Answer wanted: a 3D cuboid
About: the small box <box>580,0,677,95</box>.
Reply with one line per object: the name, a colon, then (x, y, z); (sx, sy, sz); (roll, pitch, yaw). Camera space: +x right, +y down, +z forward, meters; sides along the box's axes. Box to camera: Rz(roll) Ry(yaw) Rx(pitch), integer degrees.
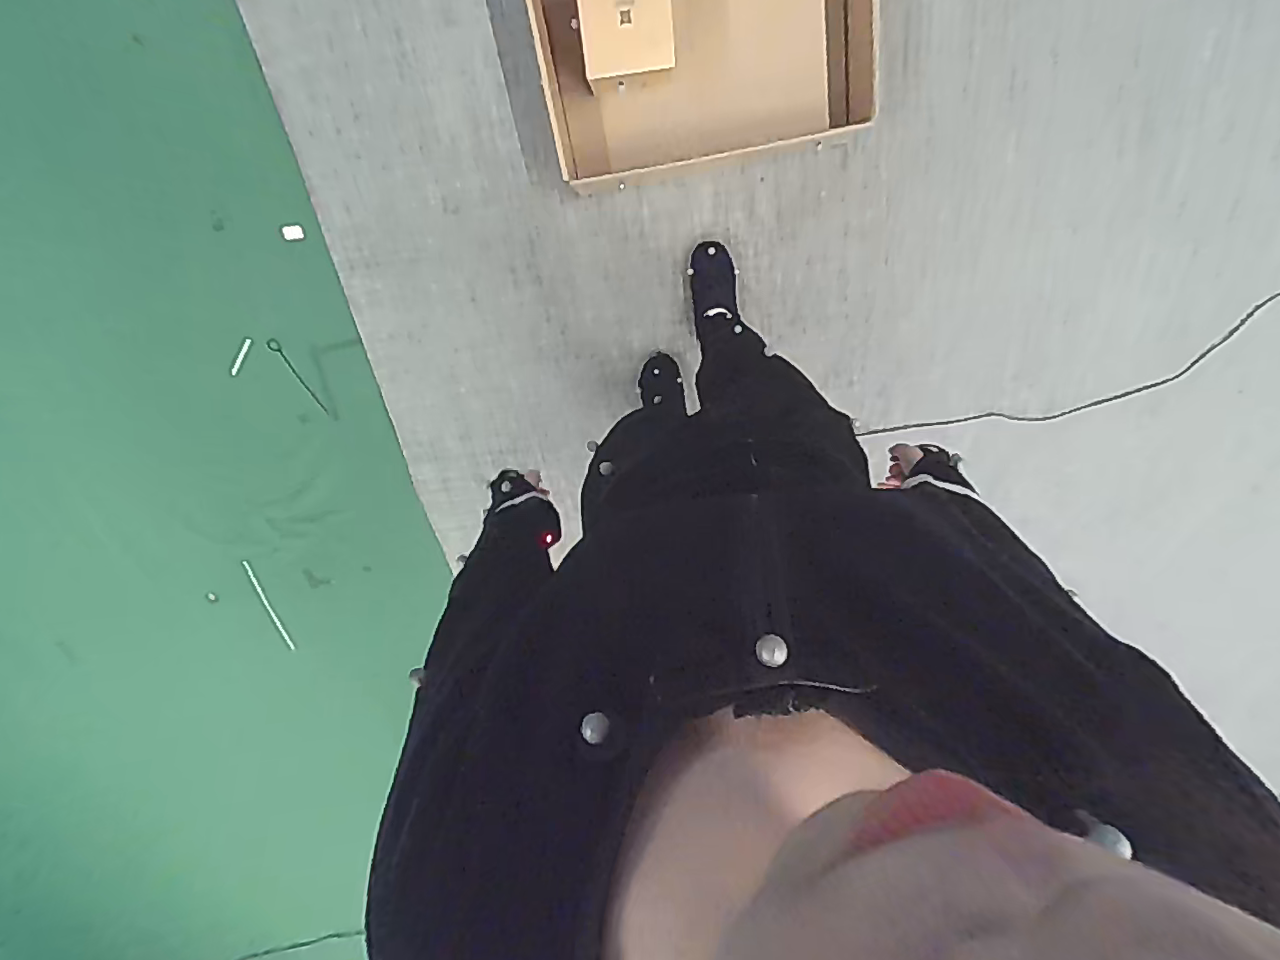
small box: (-0.017, -0.851, 1.021); (0.168, 0.176, 0.179); (-5, 114, 4)
